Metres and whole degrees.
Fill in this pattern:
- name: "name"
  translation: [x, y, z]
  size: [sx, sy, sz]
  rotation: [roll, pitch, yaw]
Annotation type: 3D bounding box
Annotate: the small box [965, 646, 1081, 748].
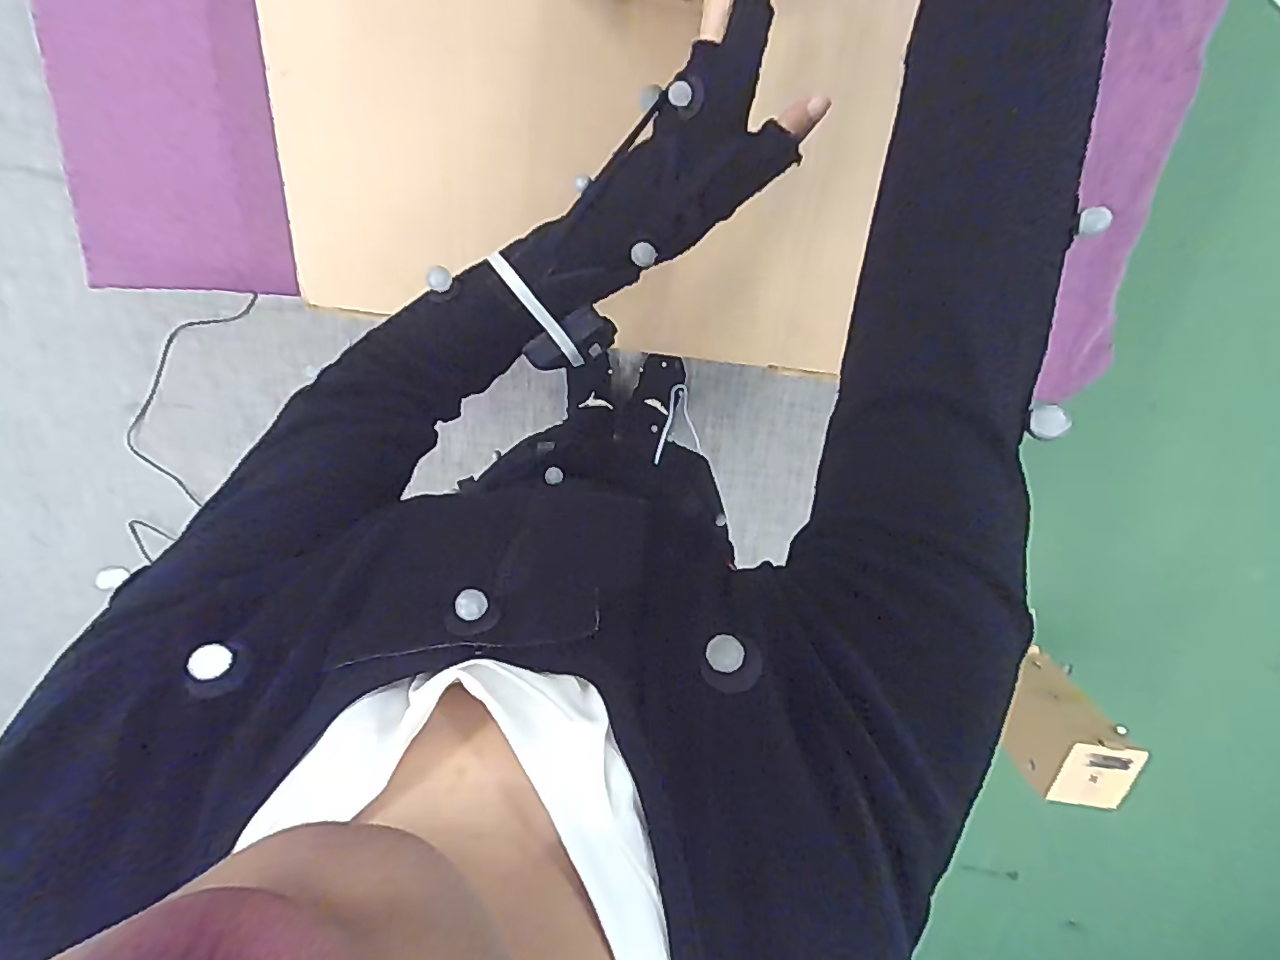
- name: "small box"
  translation: [1.006, 0.575, 1.442]
  size: [0.168, 0.176, 0.179]
  rotation: [8, 110, -1]
